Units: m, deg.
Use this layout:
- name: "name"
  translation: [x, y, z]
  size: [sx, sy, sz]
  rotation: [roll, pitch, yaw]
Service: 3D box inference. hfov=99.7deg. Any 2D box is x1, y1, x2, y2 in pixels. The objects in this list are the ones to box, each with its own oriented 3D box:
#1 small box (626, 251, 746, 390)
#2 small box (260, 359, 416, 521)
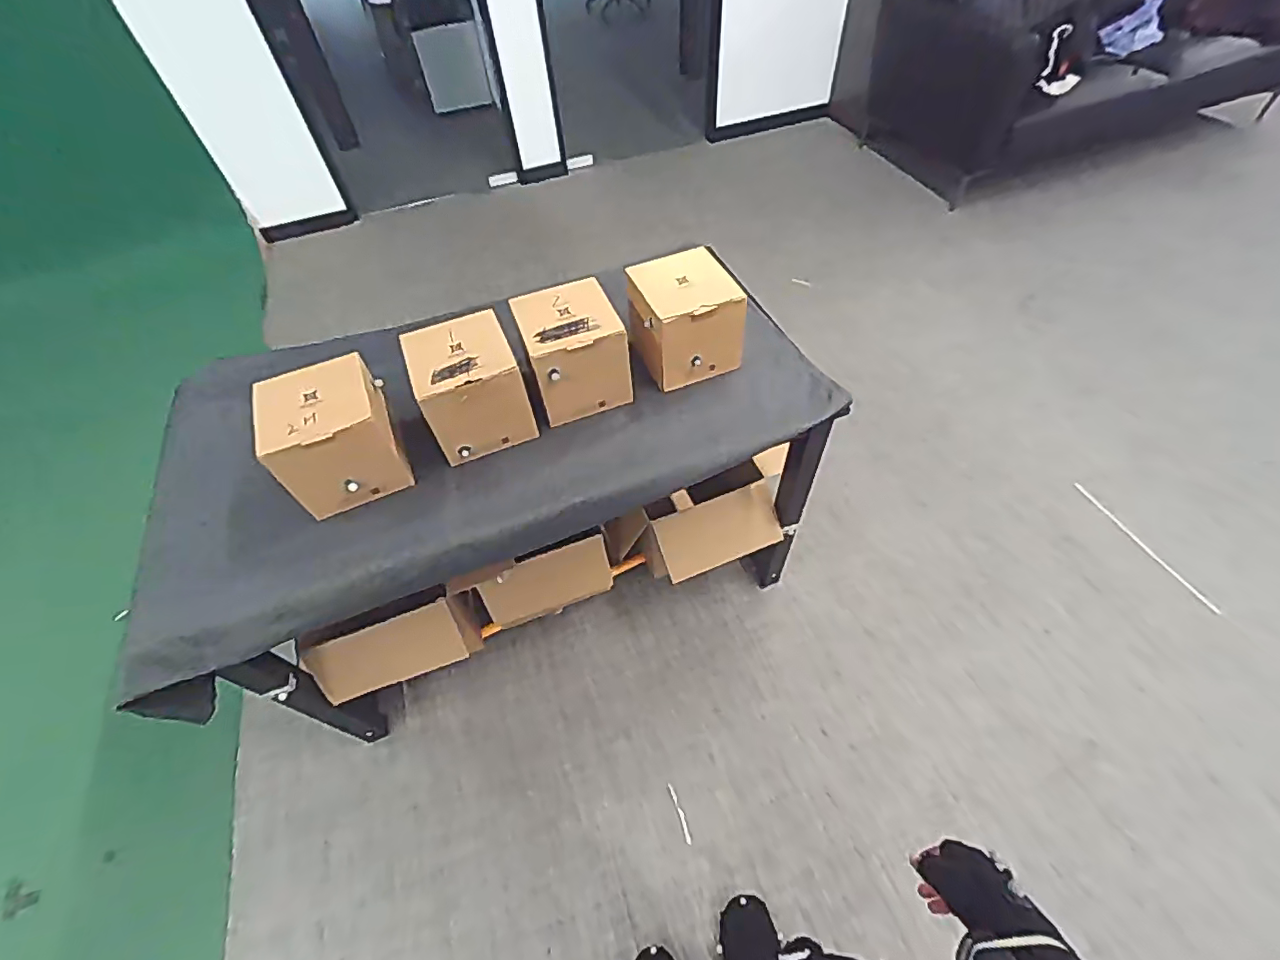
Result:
- name: "small box"
  translation: [0.082, -0.303, 1.036]
  size: [0.168, 0.176, 0.179]
  rotation: [-20, 55, -11]
- name: "small box"
  translation: [-0.497, -0.064, 0.901]
  size: [0.168, 0.176, 0.179]
  rotation: [-23, 55, -12]
